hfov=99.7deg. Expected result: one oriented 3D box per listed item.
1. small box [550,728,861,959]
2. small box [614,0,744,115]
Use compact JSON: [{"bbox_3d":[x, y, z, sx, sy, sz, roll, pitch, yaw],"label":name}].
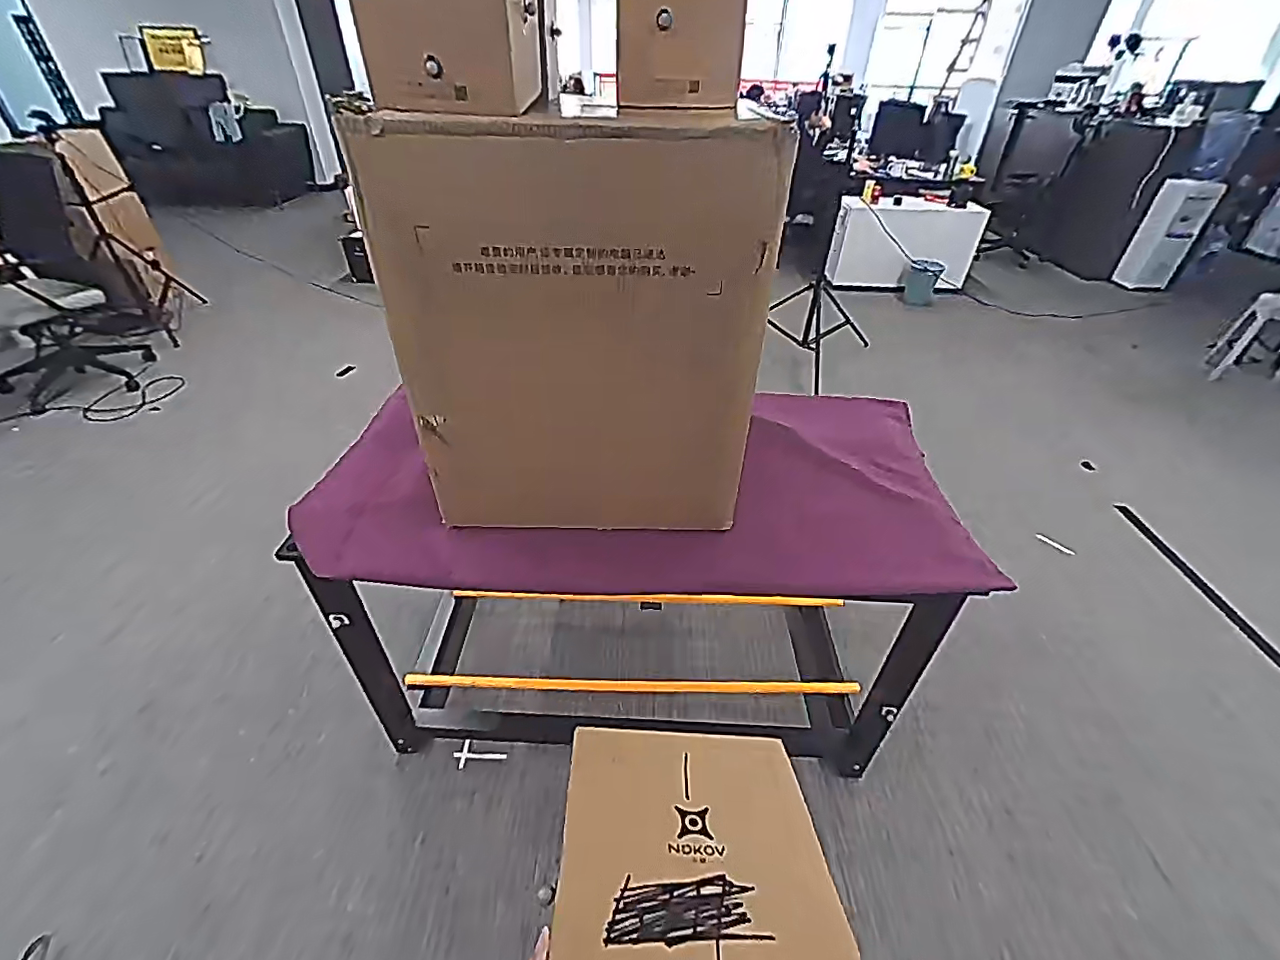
[{"bbox_3d":[0.028,0.303,0.368,0.168,0.176,0.179,5,17,-3],"label":"small box"},{"bbox_3d":[0.049,-0.613,0.753,0.168,0.176,0.179,-1,37,-1],"label":"small box"}]
